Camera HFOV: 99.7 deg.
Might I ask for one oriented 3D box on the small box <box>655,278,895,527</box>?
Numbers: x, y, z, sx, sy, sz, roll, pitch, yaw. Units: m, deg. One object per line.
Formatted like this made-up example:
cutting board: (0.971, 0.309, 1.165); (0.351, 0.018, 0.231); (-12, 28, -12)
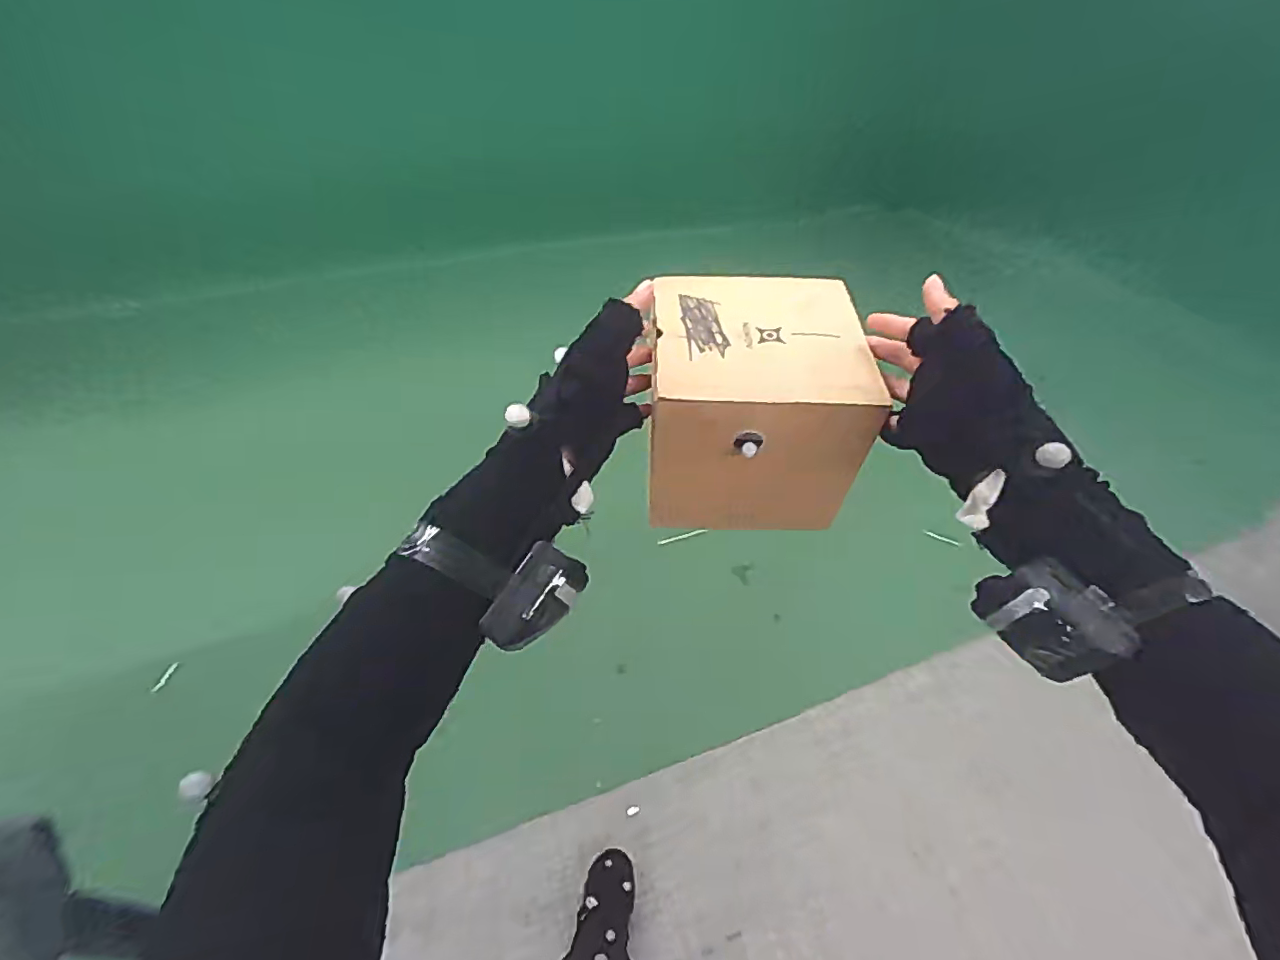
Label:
small box: (0.104, -0.068, 0.510); (0.179, 0.176, 0.168); (2, 52, -1)
